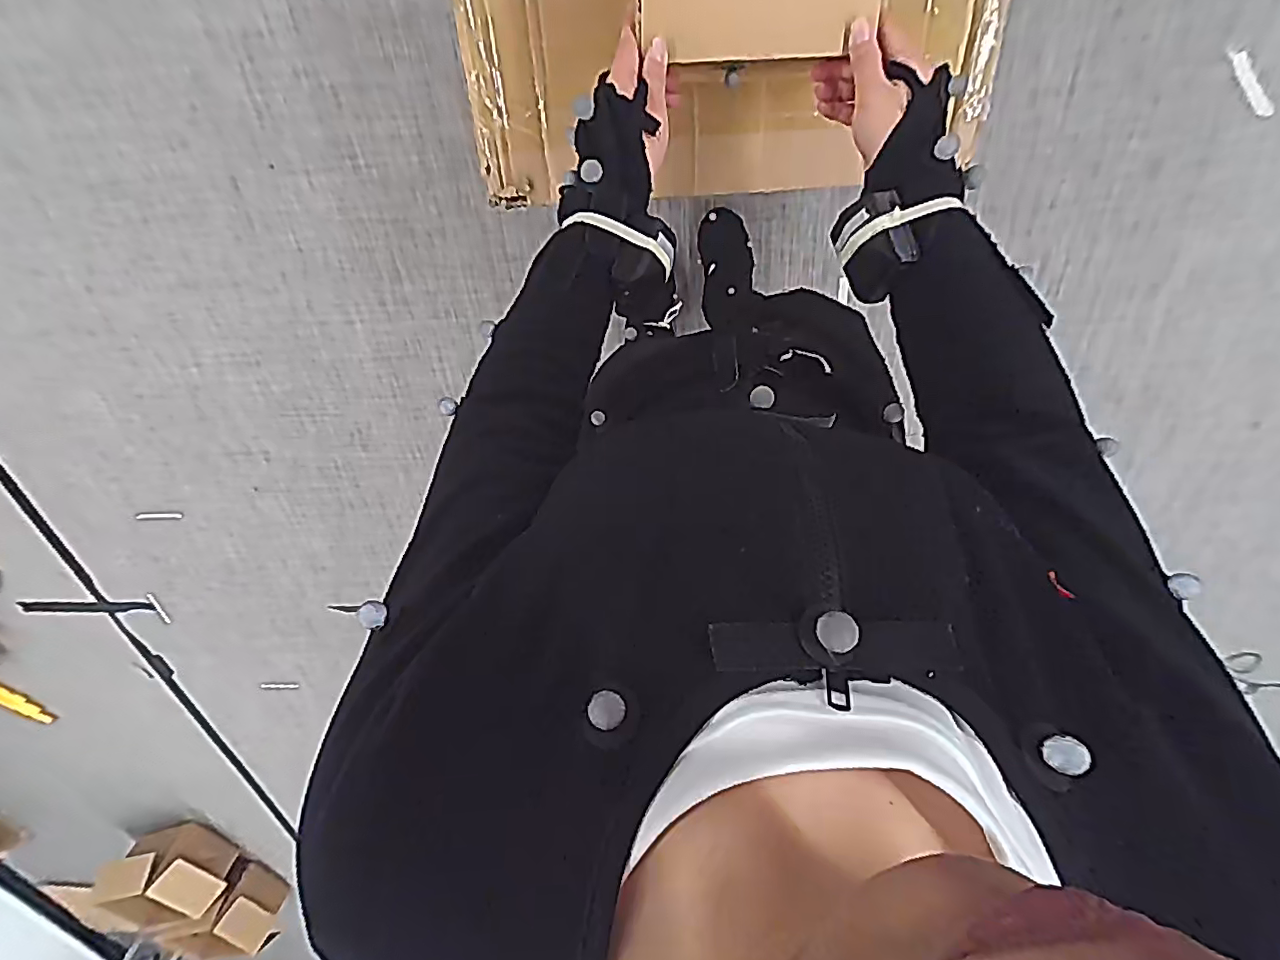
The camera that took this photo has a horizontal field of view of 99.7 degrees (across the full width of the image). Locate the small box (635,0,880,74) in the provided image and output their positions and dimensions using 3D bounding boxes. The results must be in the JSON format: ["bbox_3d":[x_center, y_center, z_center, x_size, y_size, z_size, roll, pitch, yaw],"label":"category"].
[{"bbox_3d":[0.087,-0.433,0.426,0.179,0.176,0.168,0,122,3],"label":"small box"}]
